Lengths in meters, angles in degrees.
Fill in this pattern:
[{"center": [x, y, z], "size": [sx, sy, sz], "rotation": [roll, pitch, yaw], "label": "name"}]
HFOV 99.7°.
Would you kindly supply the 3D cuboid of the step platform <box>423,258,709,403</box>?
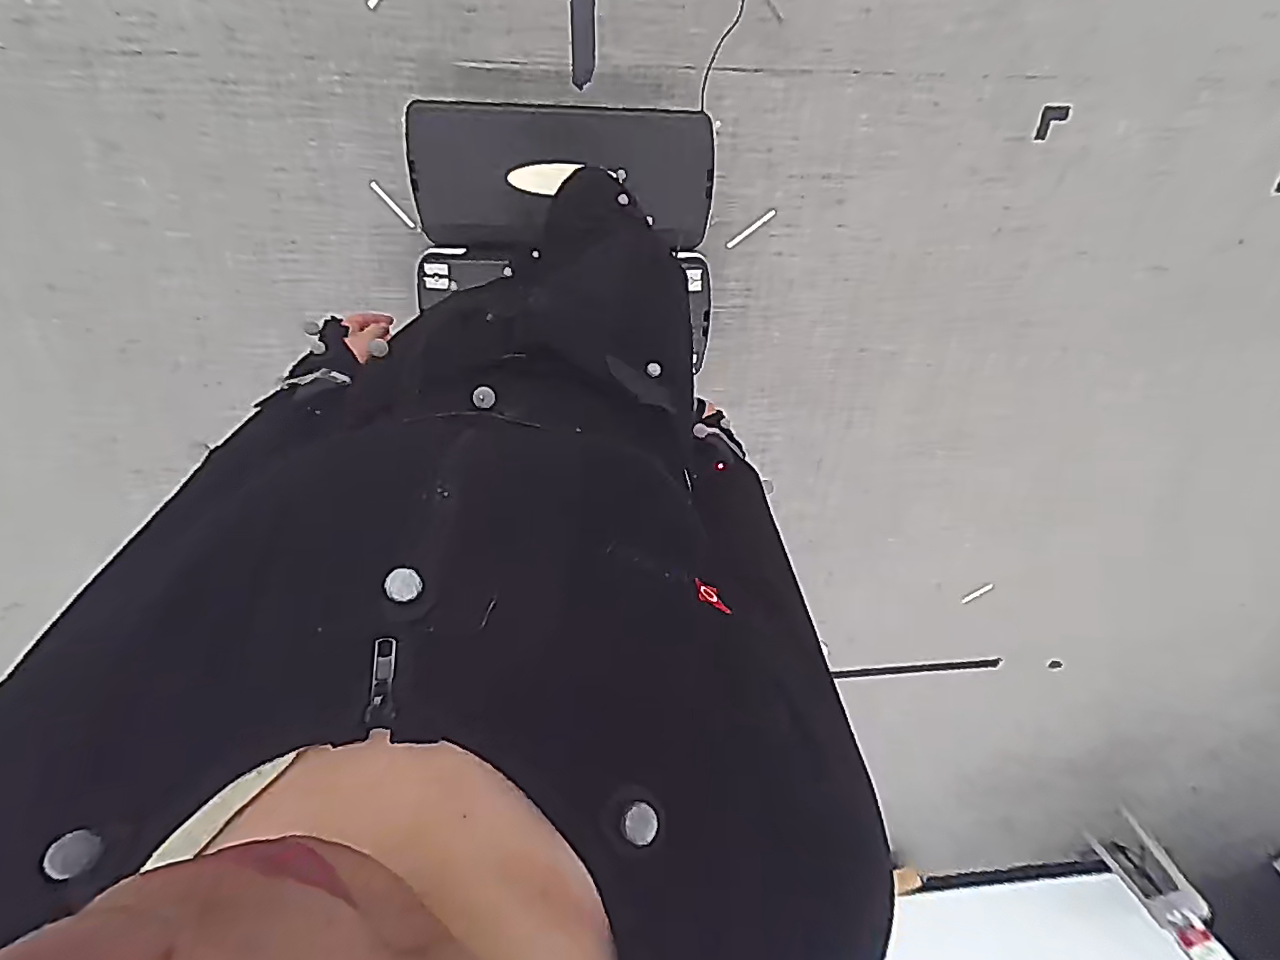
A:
[{"center": [-0.172, -0.365, 1.341], "size": [0.684, 0.204, 0.286], "rotation": [3, 118, -7], "label": "step platform"}]
